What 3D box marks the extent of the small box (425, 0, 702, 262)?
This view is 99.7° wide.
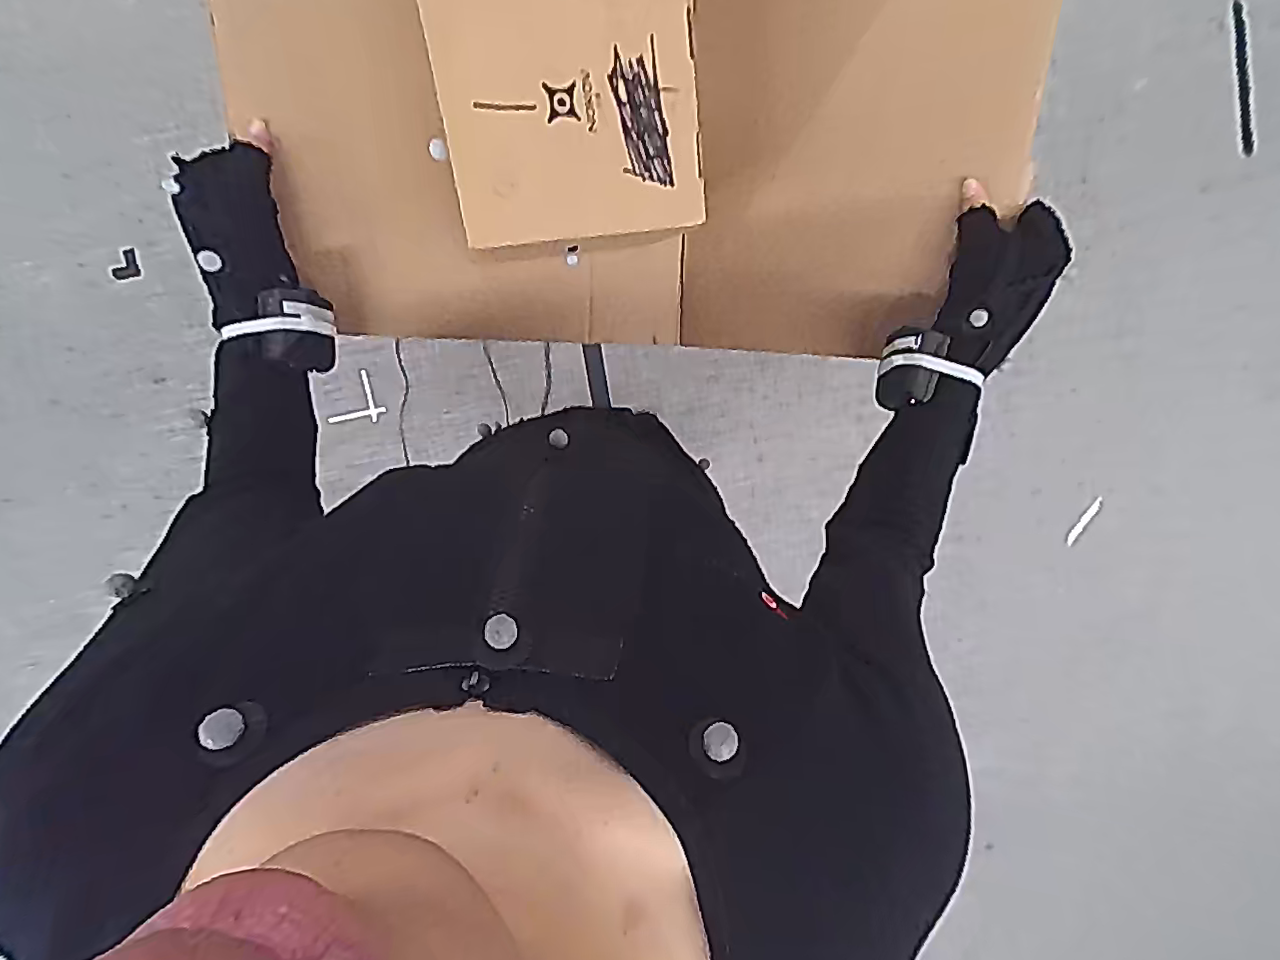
[{"bbox_3d":[-0.063,-0.280,0.446,0.179,0.176,0.168,-11,110,-10],"label":"small box"}]
